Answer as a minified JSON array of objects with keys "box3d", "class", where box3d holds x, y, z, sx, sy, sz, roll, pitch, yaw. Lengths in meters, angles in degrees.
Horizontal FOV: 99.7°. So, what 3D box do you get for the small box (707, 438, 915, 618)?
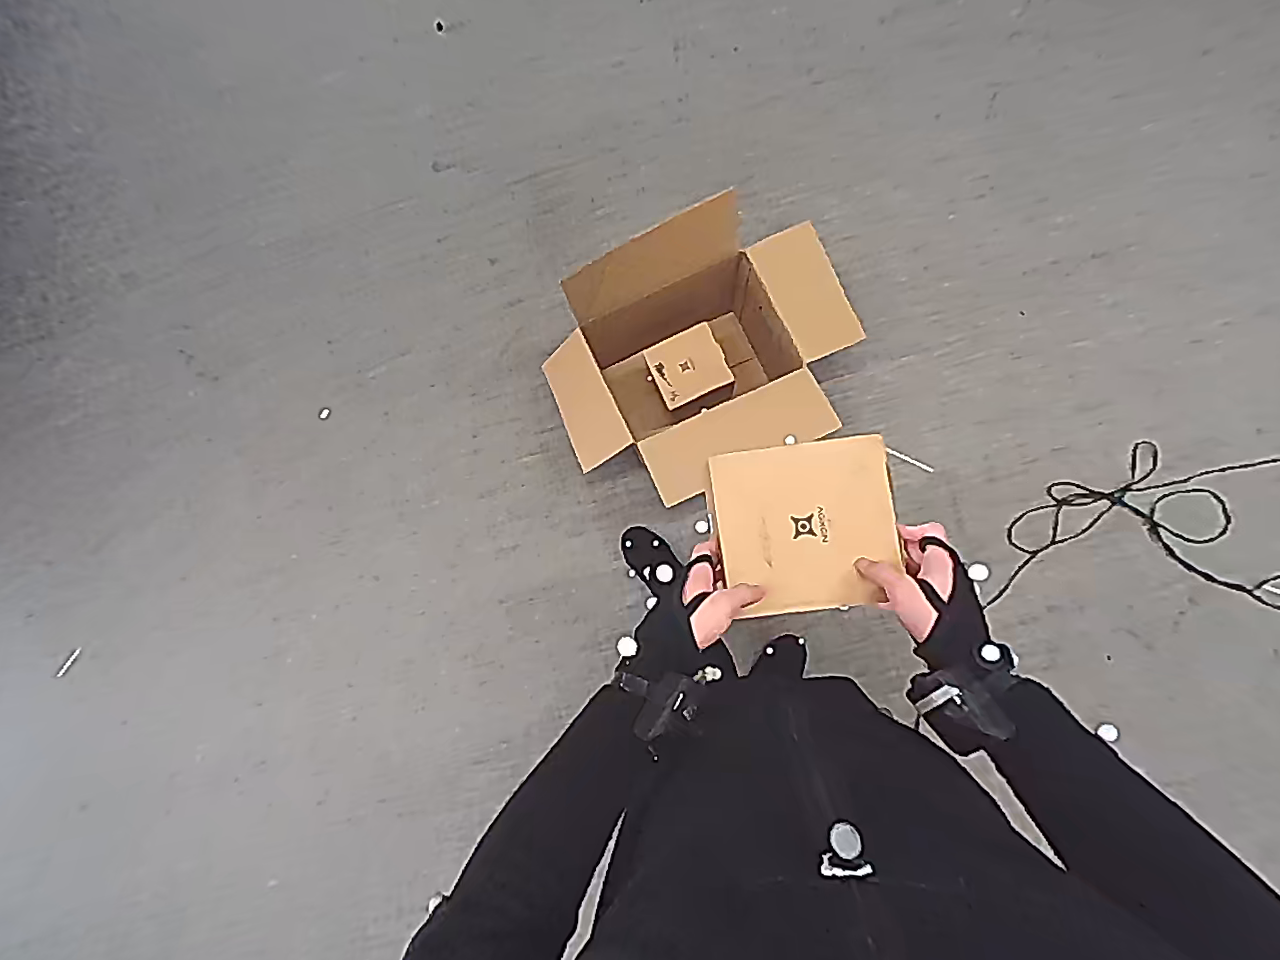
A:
[{"box3d":[0.172,0.055,0.599,0.179,0.176,0.168,-5,82,4],"class":"small box"}]
